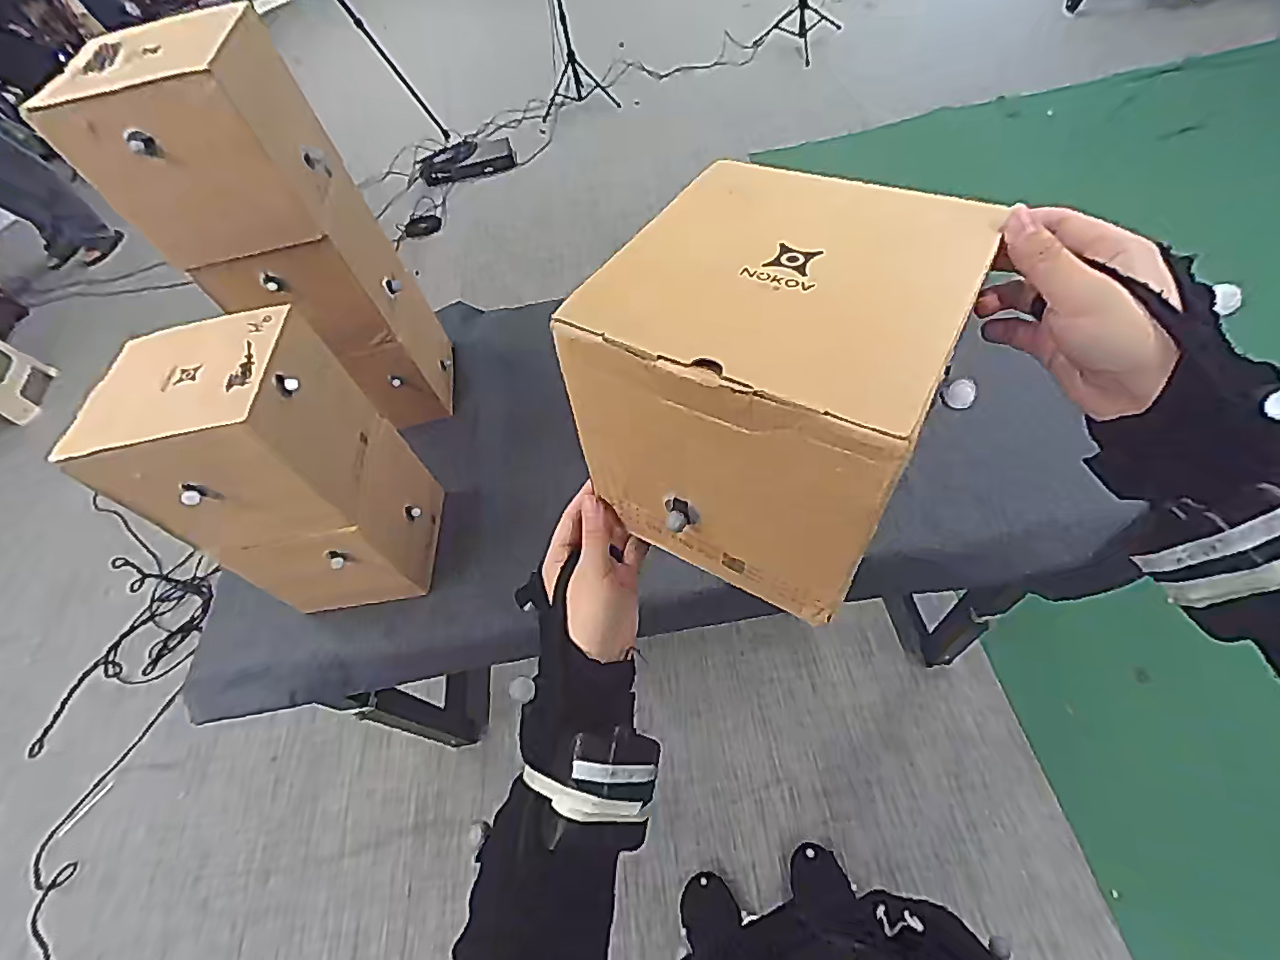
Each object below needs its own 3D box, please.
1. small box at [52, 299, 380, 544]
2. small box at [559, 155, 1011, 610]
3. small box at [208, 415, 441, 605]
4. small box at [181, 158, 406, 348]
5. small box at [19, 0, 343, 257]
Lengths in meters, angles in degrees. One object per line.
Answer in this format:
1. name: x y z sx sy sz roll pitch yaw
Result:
1. small box: -0.404 -0.051 0.556 0.179 0.176 0.168 -12 54 3
2. small box: 0.079 -0.057 0.323 0.168 0.176 0.179 24 60 22
3. small box: -0.376 0.044 0.686 0.179 0.176 0.168 -9 54 4
4. small box: -0.440 -0.286 0.720 0.179 0.176 0.168 -13 58 0
5. small box: -0.458 -0.366 0.577 0.179 0.176 0.168 -12 58 1
